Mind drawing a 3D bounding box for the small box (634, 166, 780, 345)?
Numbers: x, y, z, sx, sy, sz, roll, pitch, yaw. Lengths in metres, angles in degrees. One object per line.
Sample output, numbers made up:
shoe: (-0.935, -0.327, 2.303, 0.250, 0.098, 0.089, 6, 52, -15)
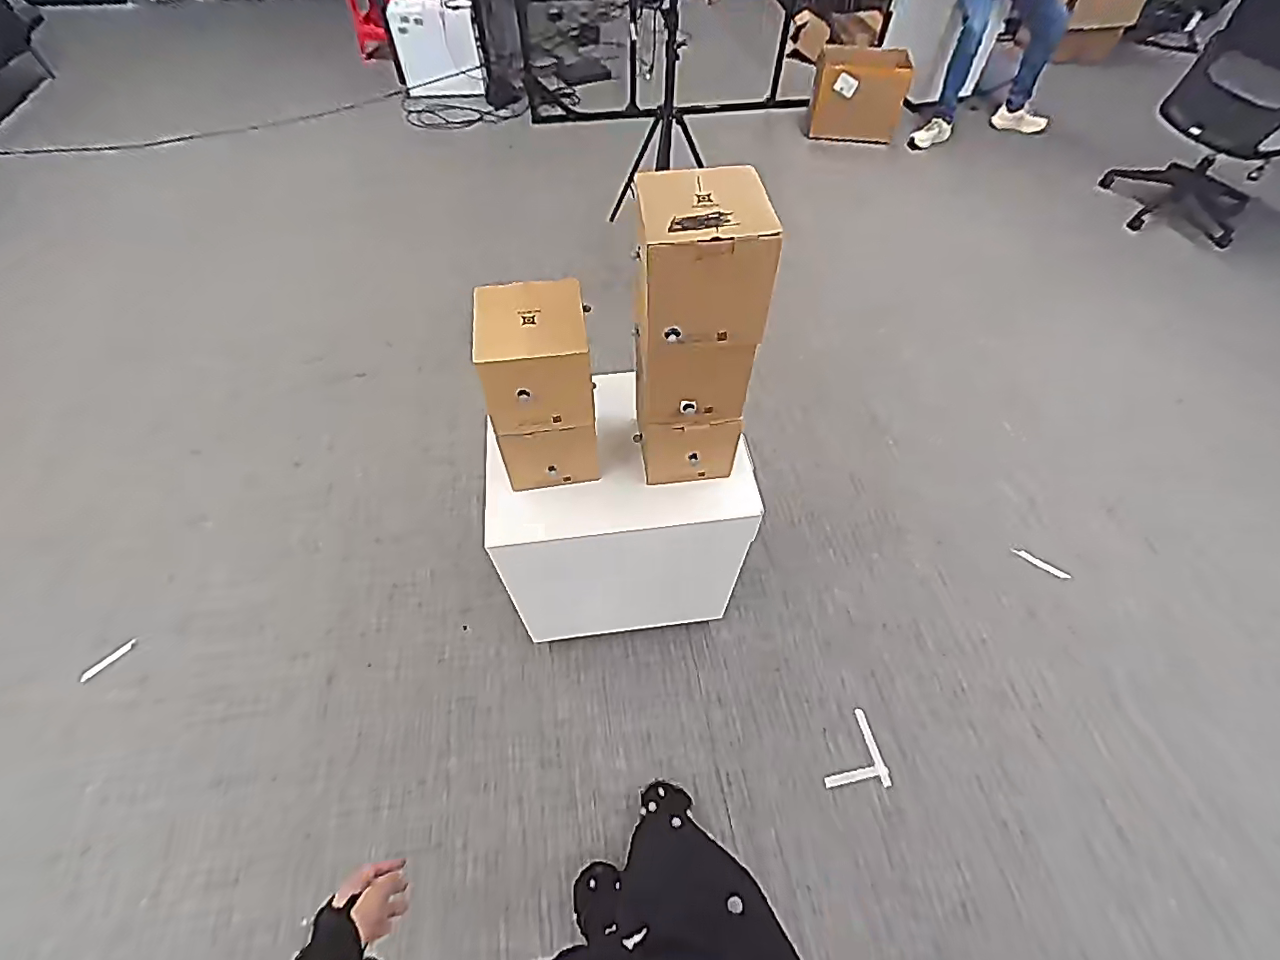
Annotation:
small box: (0.082, -0.303, 0.751, 0.168, 0.176, 0.179, -5, 54, -2)

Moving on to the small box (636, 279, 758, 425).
small box: (0.081, -0.213, 0.889, 0.168, 0.176, 0.179, -6, 57, -3)

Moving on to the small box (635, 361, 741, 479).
small box: (0.082, -0.114, 1.018, 0.168, 0.176, 0.179, -6, 57, -5)

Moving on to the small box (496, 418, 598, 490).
small box: (-0.172, -0.104, 1.009, 0.168, 0.176, 0.179, -8, 57, -6)

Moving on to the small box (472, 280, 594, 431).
small box: (-0.168, -0.193, 0.873, 0.168, 0.176, 0.179, -7, 56, -6)
